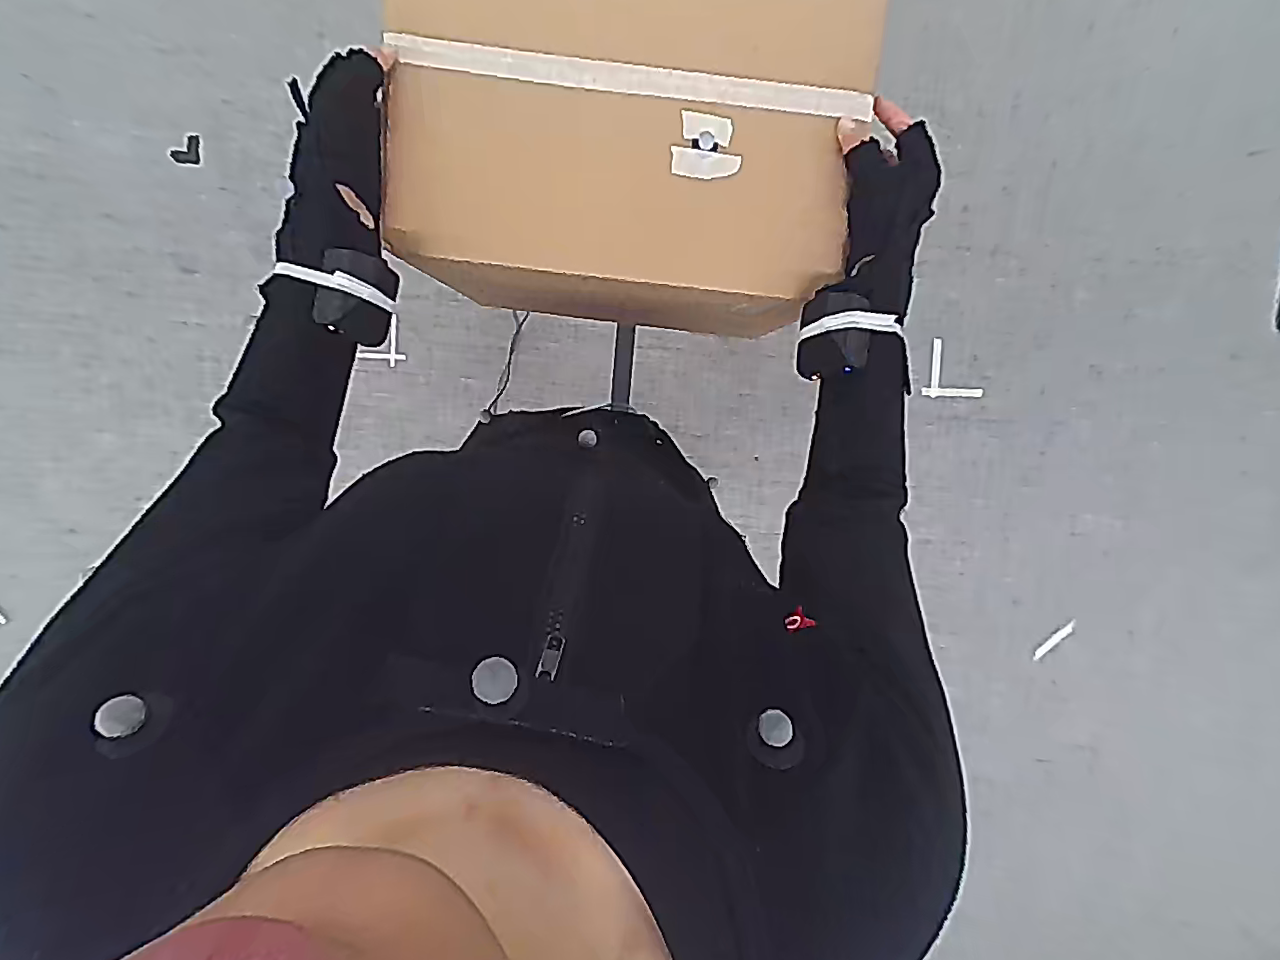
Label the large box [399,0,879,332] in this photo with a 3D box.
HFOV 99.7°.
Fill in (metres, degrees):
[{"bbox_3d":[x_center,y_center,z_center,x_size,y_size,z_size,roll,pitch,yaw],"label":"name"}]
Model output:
[{"bbox_3d":[-0.009,-0.358,0.611,0.408,0.320,0.320,6,100,-3],"label":"large box"}]
